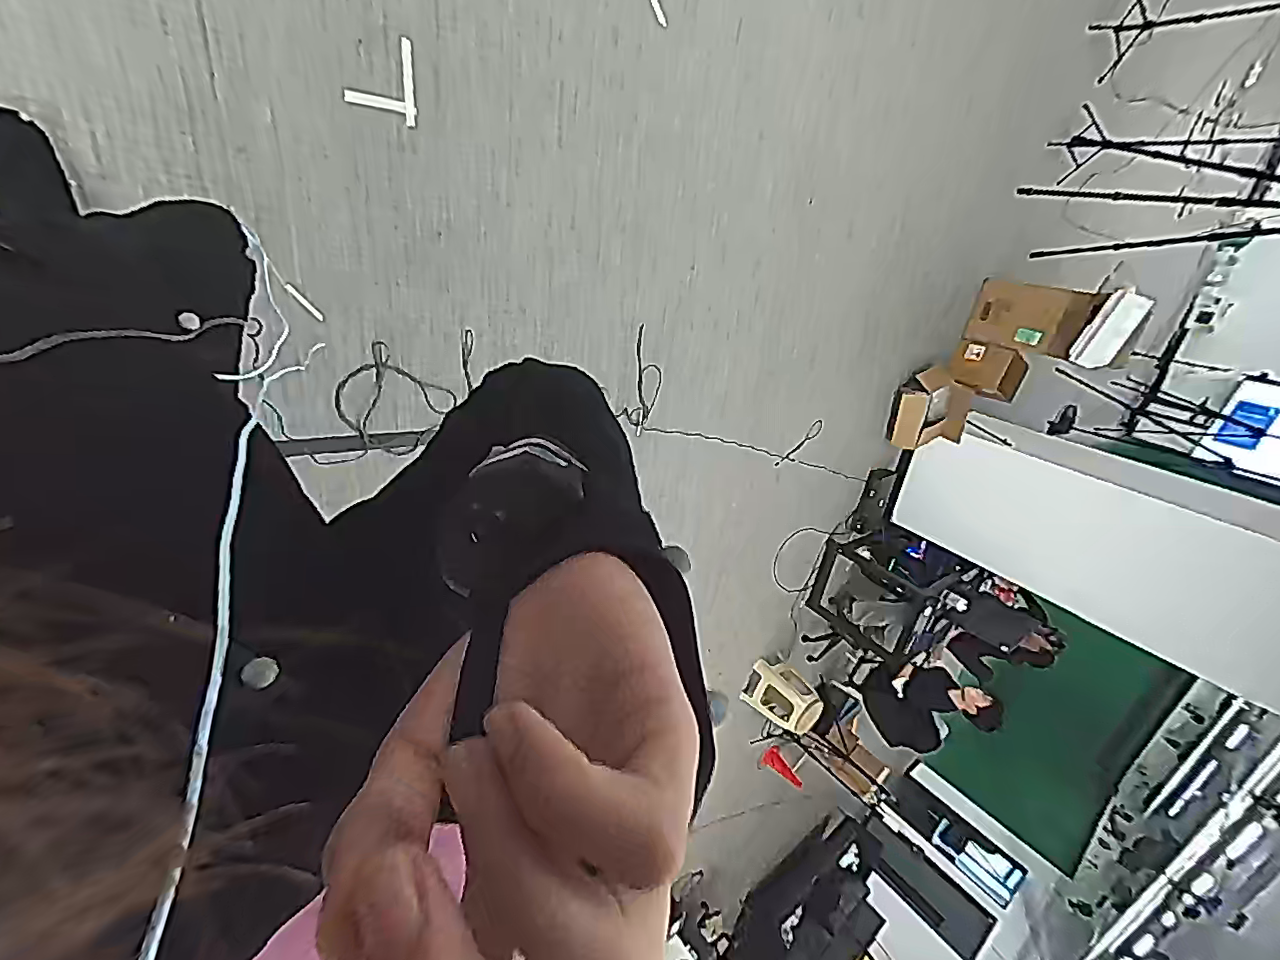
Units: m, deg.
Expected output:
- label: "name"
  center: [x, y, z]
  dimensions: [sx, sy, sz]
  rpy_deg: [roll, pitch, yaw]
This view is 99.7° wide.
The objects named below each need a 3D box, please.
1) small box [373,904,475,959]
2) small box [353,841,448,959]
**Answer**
- label: "small box"
  center: [-0.458, 1.063, 1.154]
  dimensions: [0.168, 0.176, 0.179]
  rpy_deg: [-12, 122, -37]
- label: "small box"
  center: [-0.561, 0.987, 1.258]
  dimensions: [0.168, 0.176, 0.179]
  rpy_deg: [-7, 119, -39]
